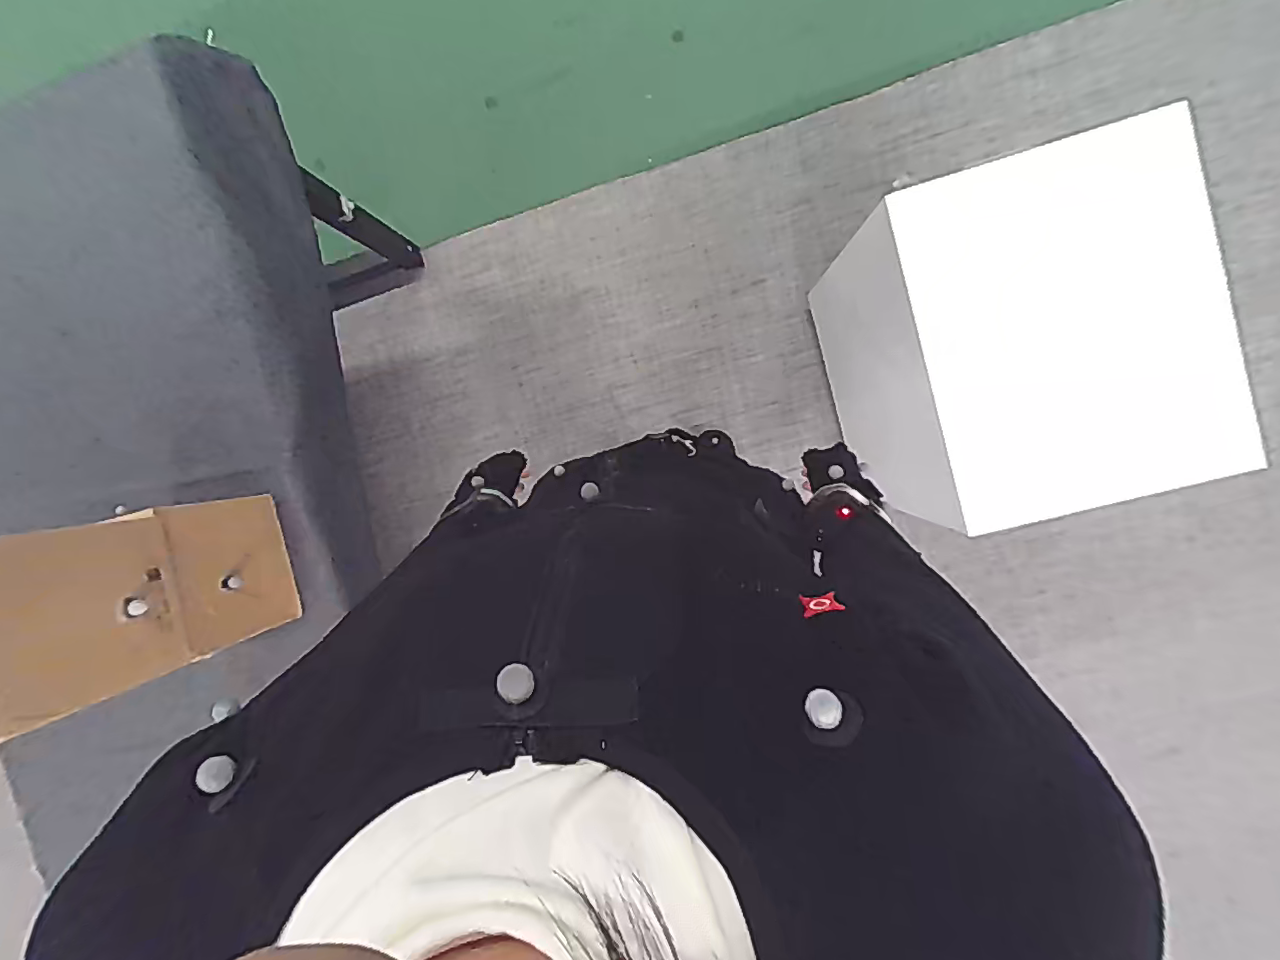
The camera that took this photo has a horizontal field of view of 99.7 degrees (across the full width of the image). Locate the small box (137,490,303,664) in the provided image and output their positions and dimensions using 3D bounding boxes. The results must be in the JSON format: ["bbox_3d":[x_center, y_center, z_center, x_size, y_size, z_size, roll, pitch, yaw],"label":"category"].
[{"bbox_3d":[-0.574,0.120,0.691,0.168,0.176,0.179,-13,93,9],"label":"small box"}]

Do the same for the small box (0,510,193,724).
[{"bbox_3d":[-0.601,0.132,0.529,0.179,0.176,0.168,-13,92,10],"label":"small box"}]
